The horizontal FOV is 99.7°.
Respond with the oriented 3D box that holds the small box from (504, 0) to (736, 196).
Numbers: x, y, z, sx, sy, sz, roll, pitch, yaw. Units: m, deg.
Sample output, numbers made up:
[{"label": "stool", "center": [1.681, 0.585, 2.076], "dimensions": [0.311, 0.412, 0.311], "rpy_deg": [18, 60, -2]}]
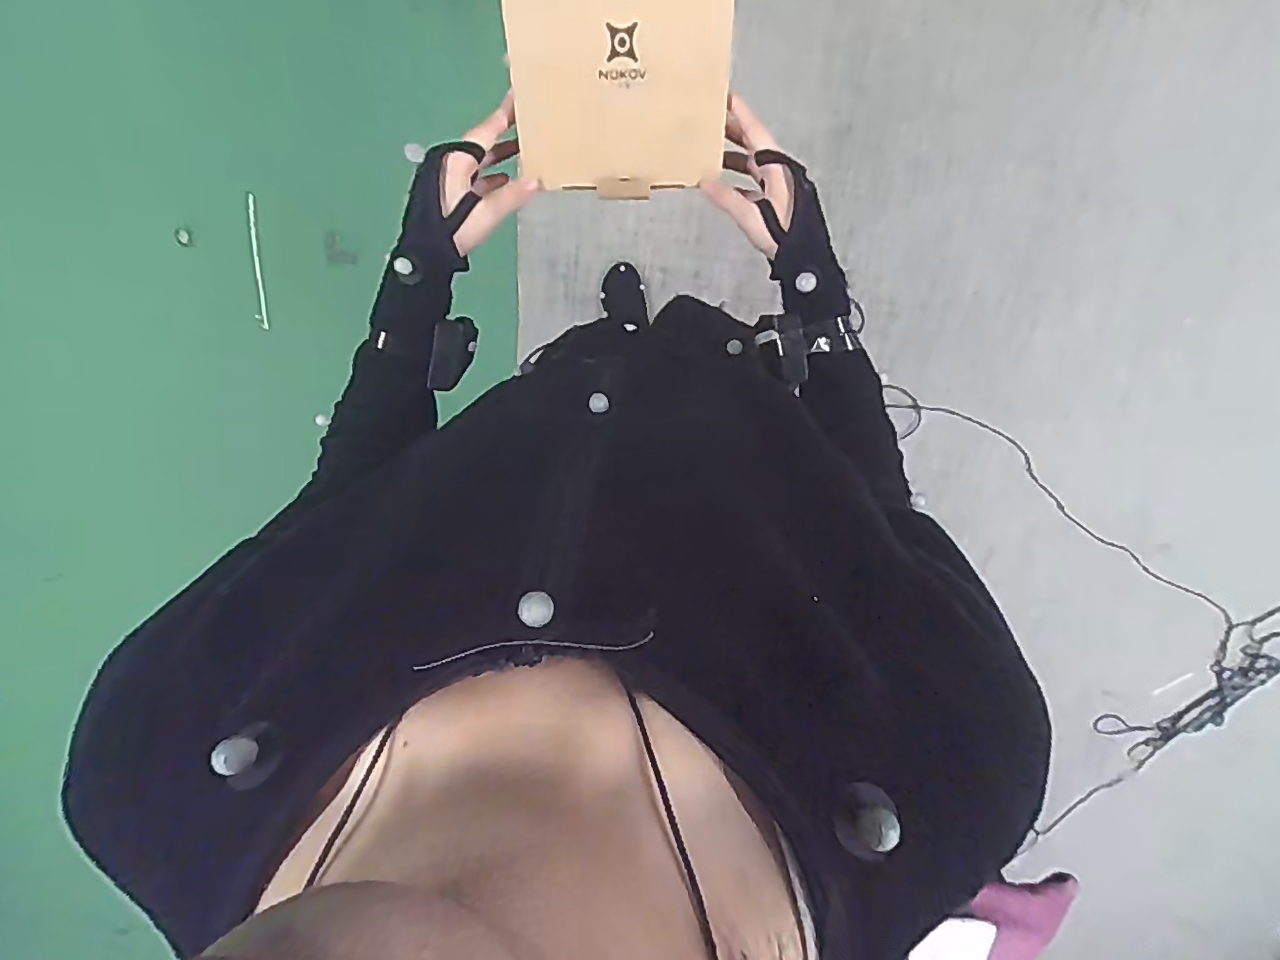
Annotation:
[{"label": "small box", "center": [-0.019, -0.357, 0.462], "dimensions": [0.168, 0.176, 0.179], "rpy_deg": [-3, 128, -4]}]
